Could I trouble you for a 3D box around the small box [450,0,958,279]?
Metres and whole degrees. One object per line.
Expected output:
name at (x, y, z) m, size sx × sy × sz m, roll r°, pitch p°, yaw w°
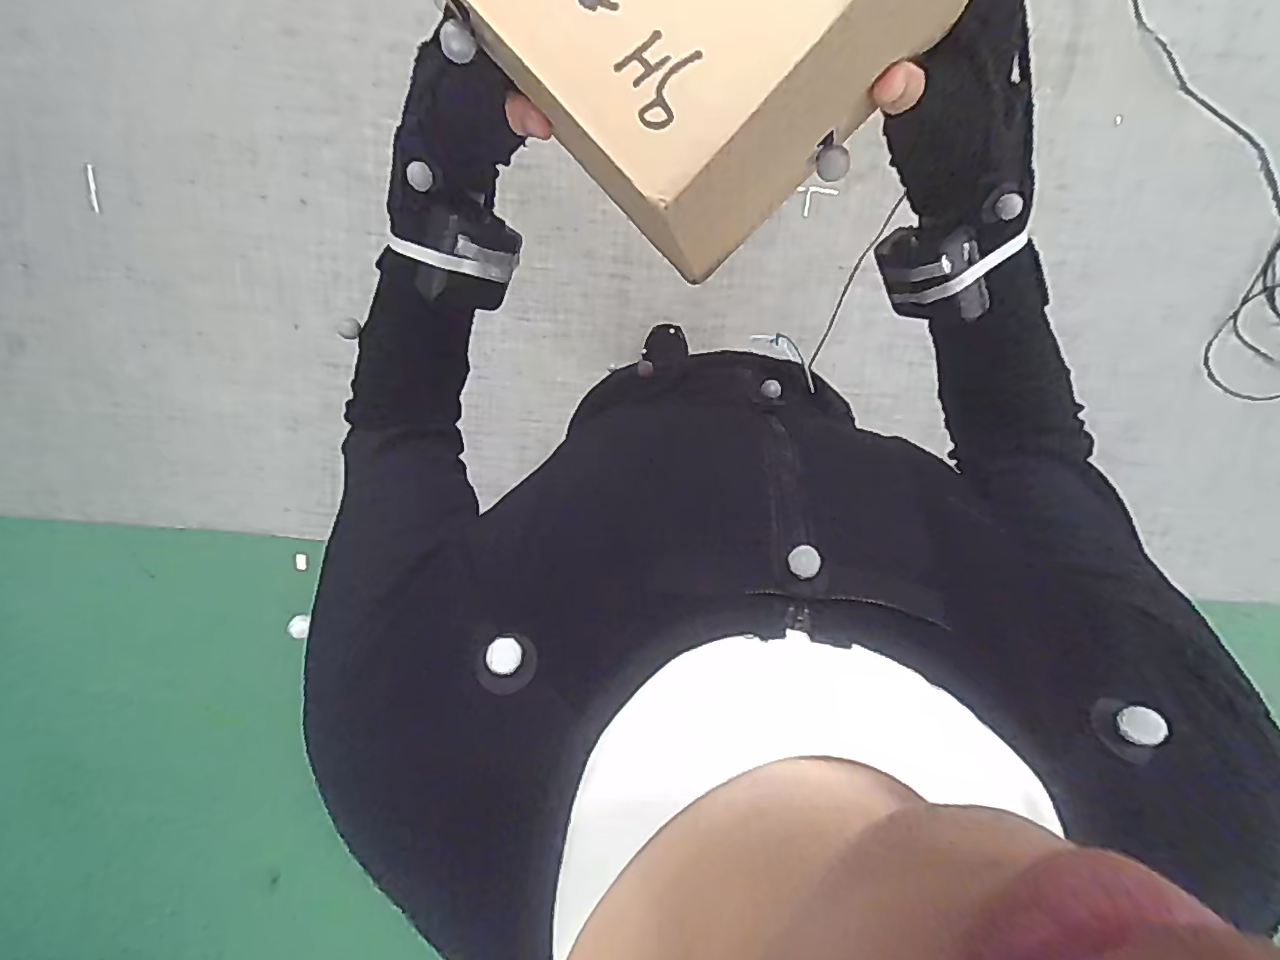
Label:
small box at (0.026, -0.214, 0.222) m, size 0.179 × 0.176 × 0.168 m, roll -42°, pitch 91°, yaw 14°
